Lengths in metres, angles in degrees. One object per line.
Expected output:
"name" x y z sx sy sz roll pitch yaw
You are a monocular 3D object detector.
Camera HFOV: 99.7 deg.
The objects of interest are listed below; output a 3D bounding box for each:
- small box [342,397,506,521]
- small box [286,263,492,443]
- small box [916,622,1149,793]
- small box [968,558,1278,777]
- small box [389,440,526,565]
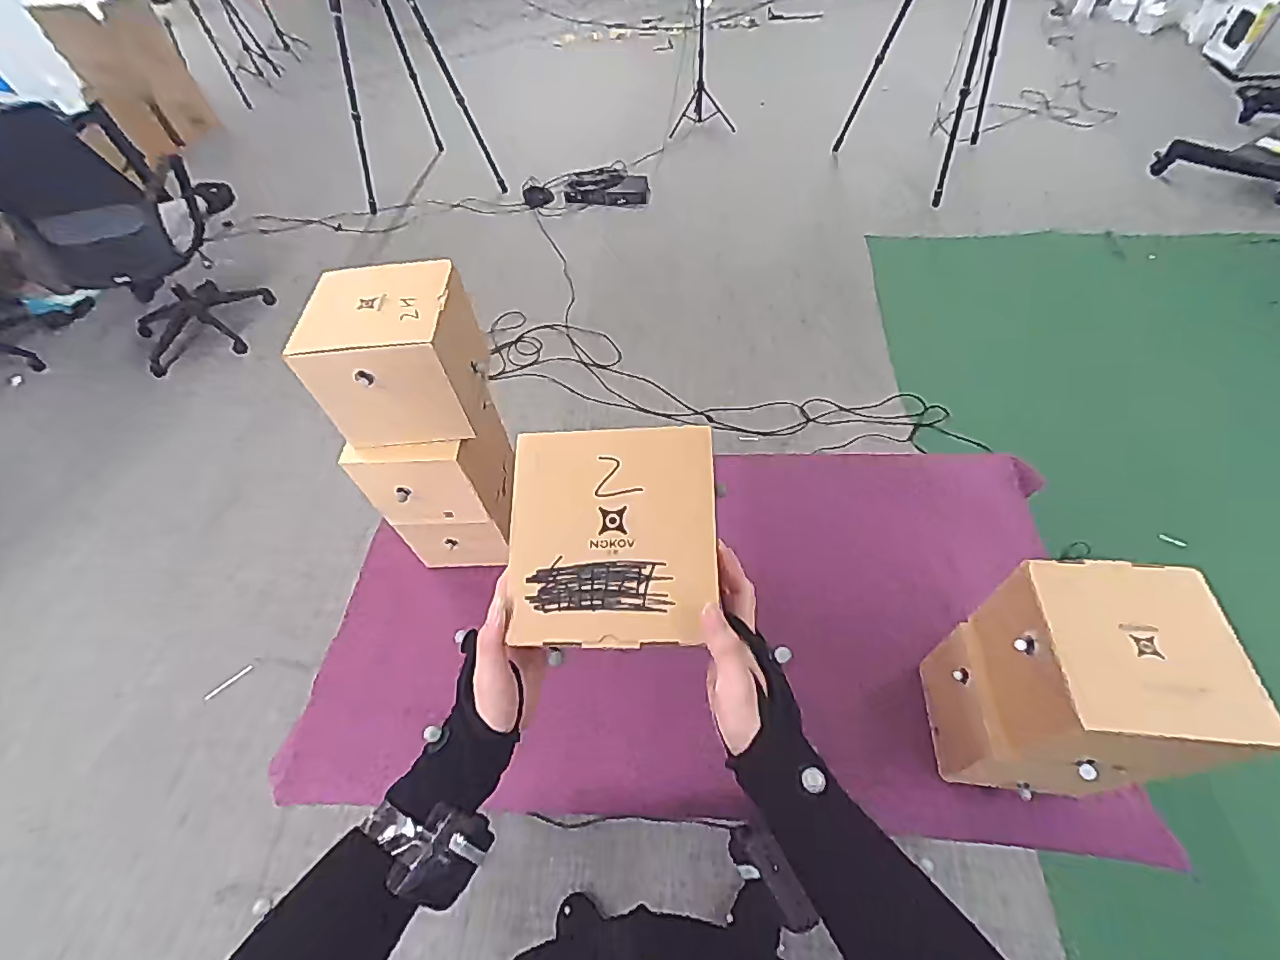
"small box" -0.318 -0.046 0.841 0.168 0.176 0.179 -2 54 3
"small box" -0.315 -0.163 0.723 0.179 0.176 0.168 -4 54 1
"small box" 0.499 0.307 0.721 0.179 0.176 0.168 4 53 7
"small box" 0.491 0.206 0.592 0.168 0.176 0.179 2 54 9
"small box" -0.313 0.044 0.975 0.179 0.176 0.168 -3 54 3
